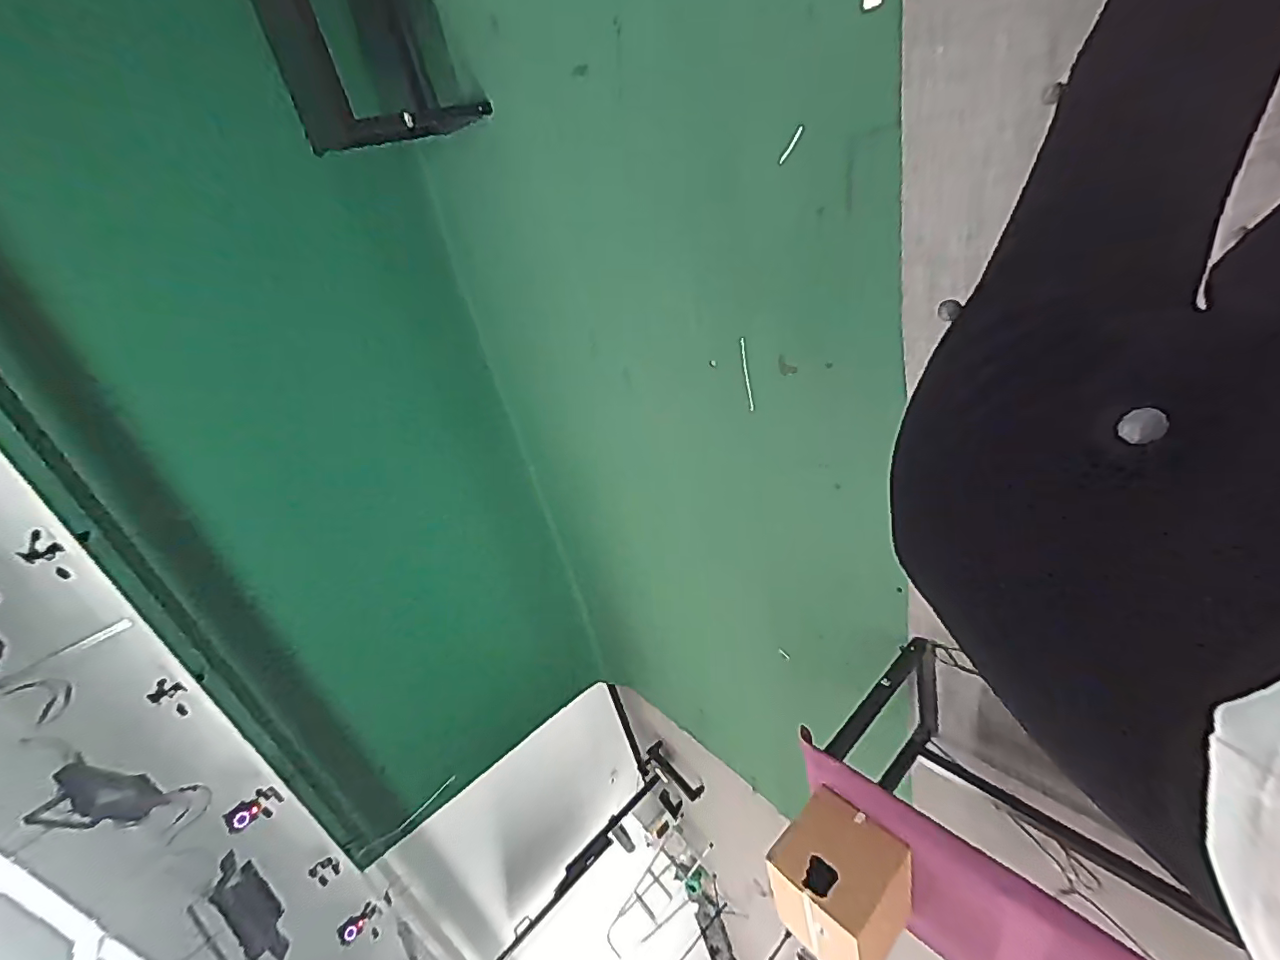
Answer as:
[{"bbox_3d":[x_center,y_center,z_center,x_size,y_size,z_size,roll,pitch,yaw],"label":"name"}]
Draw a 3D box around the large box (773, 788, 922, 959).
[{"bbox_3d":[0.663,1.293,1.708,0.320,0.320,0.408,17,130,47],"label":"large box"}]
